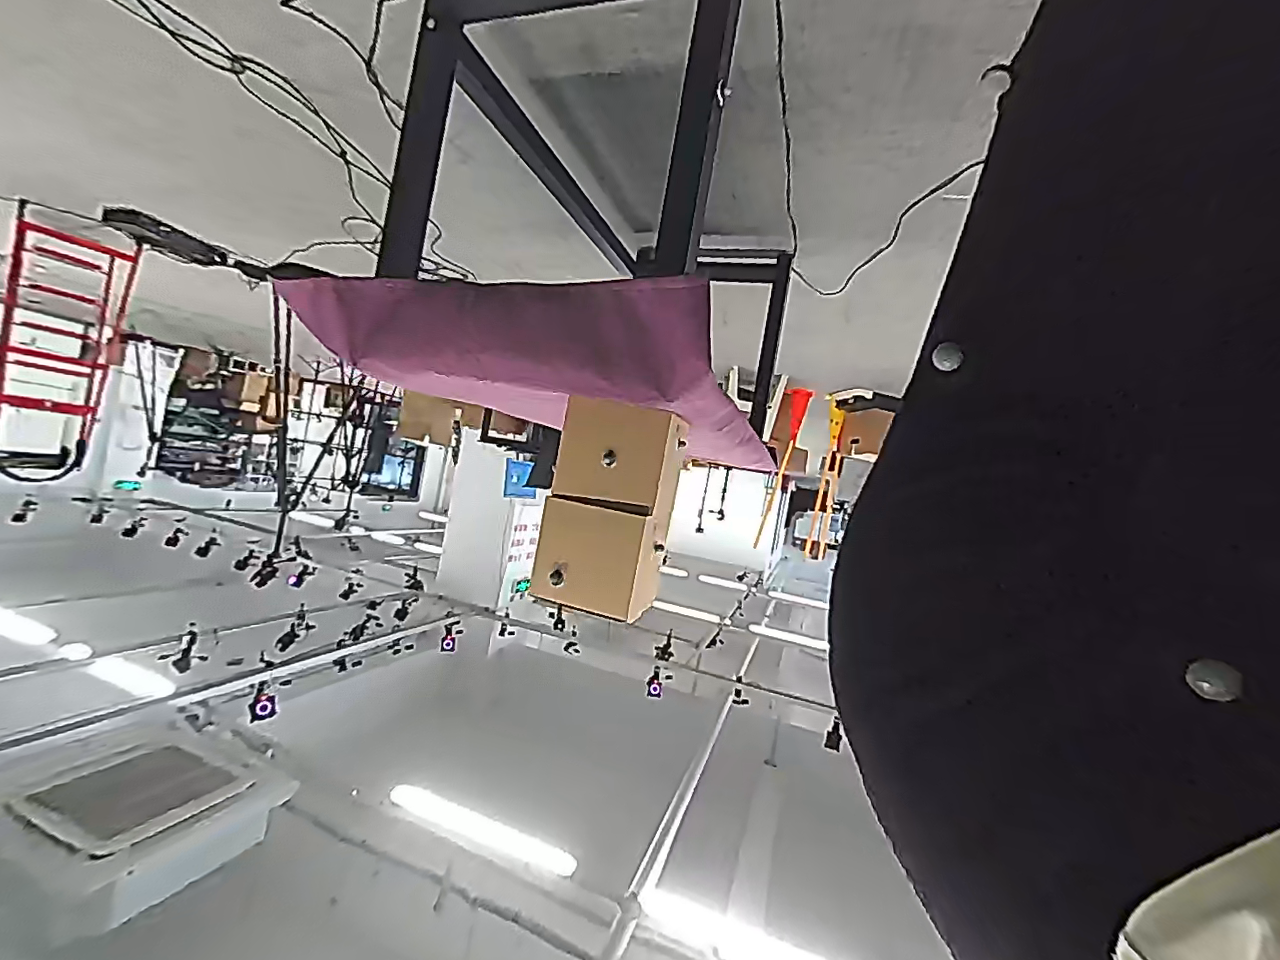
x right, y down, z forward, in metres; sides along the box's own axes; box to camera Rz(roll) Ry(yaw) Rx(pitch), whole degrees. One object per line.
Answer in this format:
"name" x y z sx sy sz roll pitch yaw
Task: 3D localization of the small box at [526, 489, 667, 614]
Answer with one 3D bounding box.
"small box" -0.068 0.110 0.921 0.179 0.176 0.168 11 -178 16
